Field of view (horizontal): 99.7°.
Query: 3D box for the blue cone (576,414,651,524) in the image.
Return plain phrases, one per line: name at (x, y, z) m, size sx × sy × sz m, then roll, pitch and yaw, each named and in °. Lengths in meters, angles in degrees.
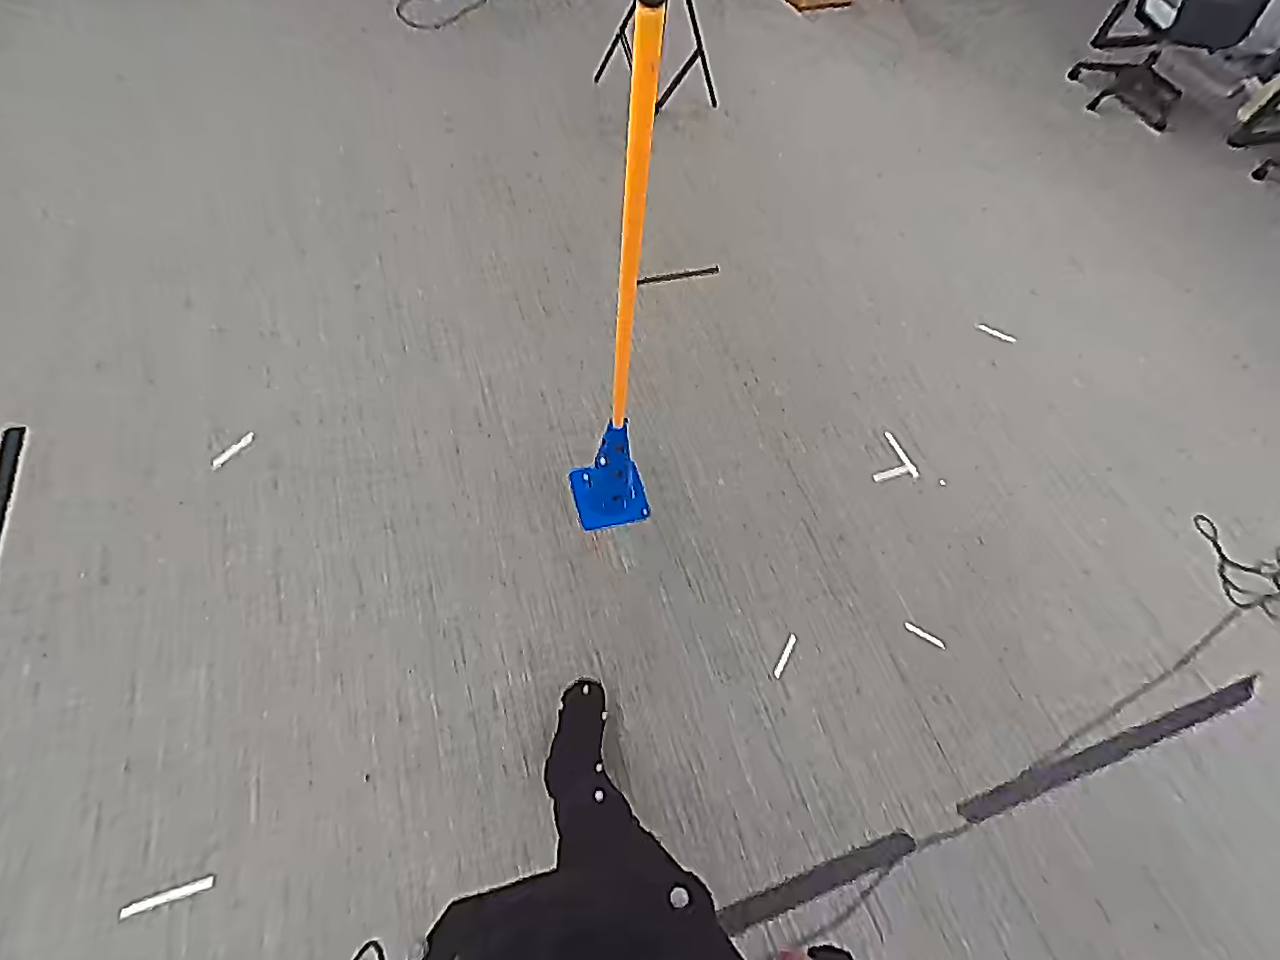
blue cone at (-0.062, -0.046, 1.404) m, size 0.192 × 0.380 × 0.193 m, roll -10°, pitch 62°, yaw -13°
